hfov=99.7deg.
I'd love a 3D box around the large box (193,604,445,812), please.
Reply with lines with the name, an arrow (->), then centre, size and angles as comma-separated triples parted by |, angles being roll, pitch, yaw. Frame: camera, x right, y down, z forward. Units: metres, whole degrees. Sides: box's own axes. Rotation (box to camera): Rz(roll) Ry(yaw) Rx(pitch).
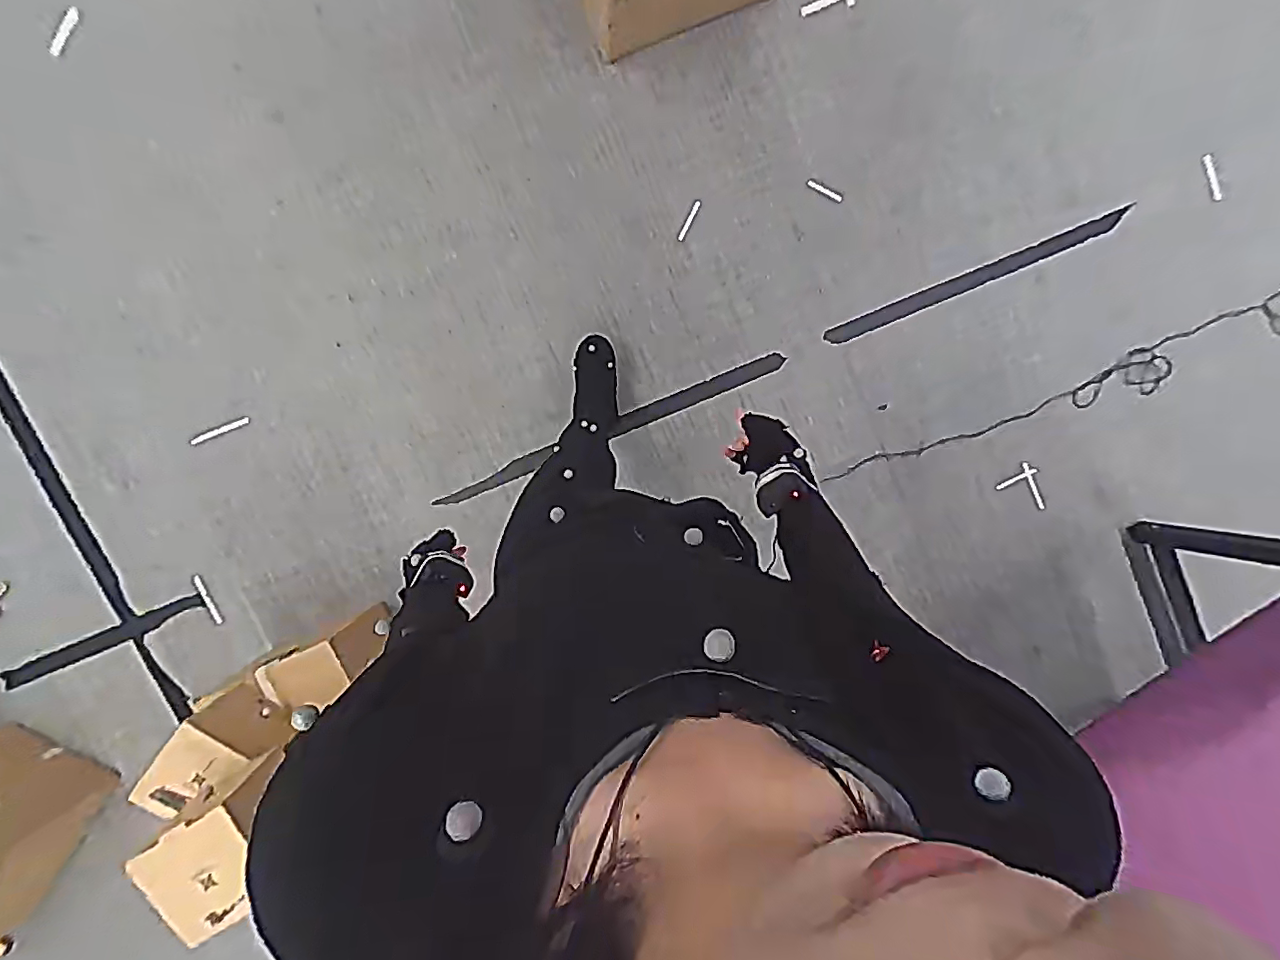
large box -> -0.737, 0.579, 1.315 | 0.320, 0.320, 0.408 | -26, 94, -5

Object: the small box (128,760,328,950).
small box -> -0.677, 0.611, 0.913 | 0.168, 0.176, 0.179 | -30, 96, -4
